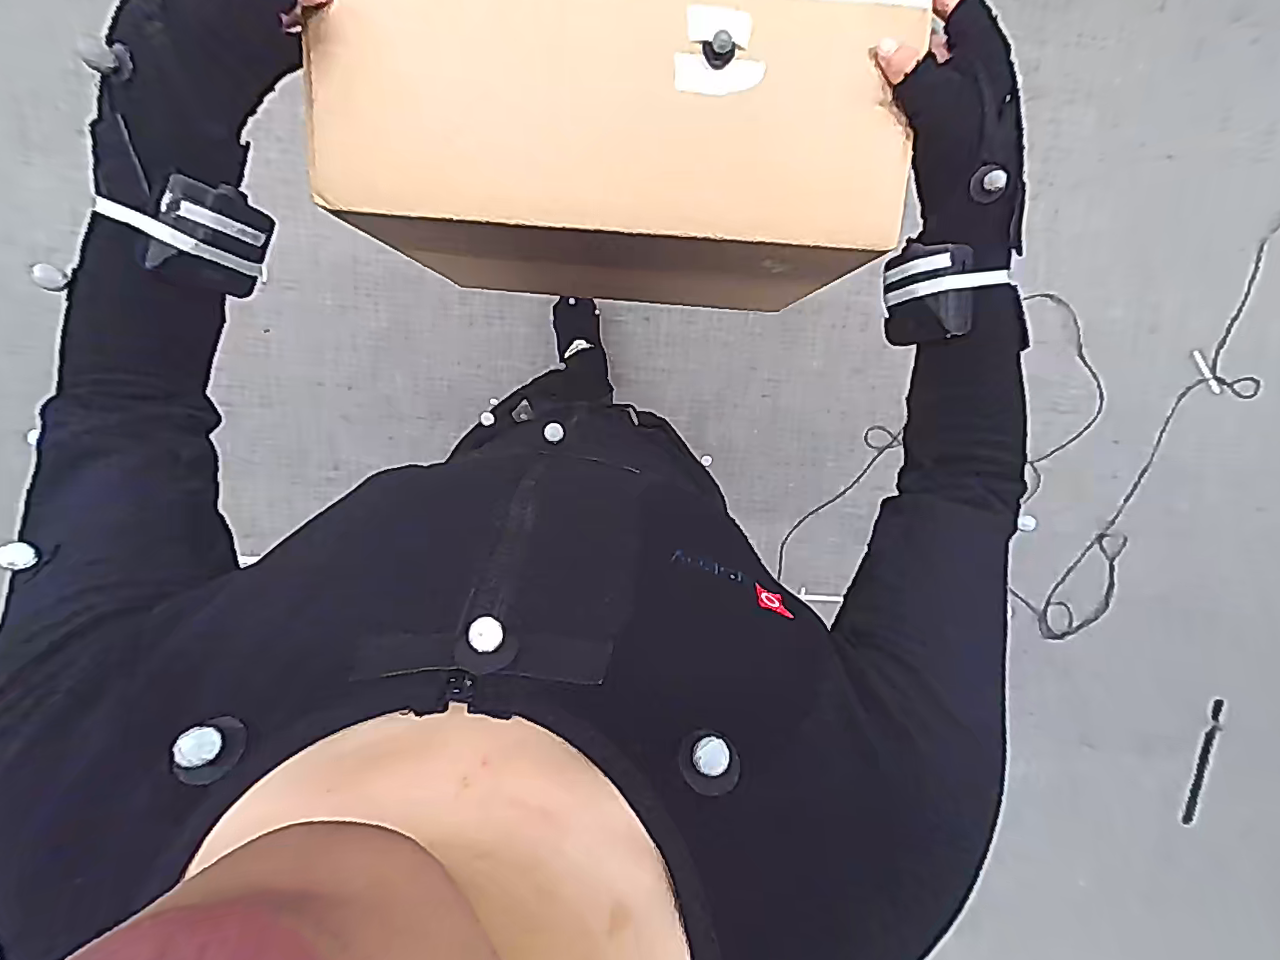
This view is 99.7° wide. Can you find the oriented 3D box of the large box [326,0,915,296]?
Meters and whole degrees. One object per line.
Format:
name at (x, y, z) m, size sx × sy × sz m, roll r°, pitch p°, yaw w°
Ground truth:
large box at (-0.014, -0.366, 0.508) m, size 0.408 × 0.320 × 0.320 m, roll 3°, pitch 100°, yaw -2°
